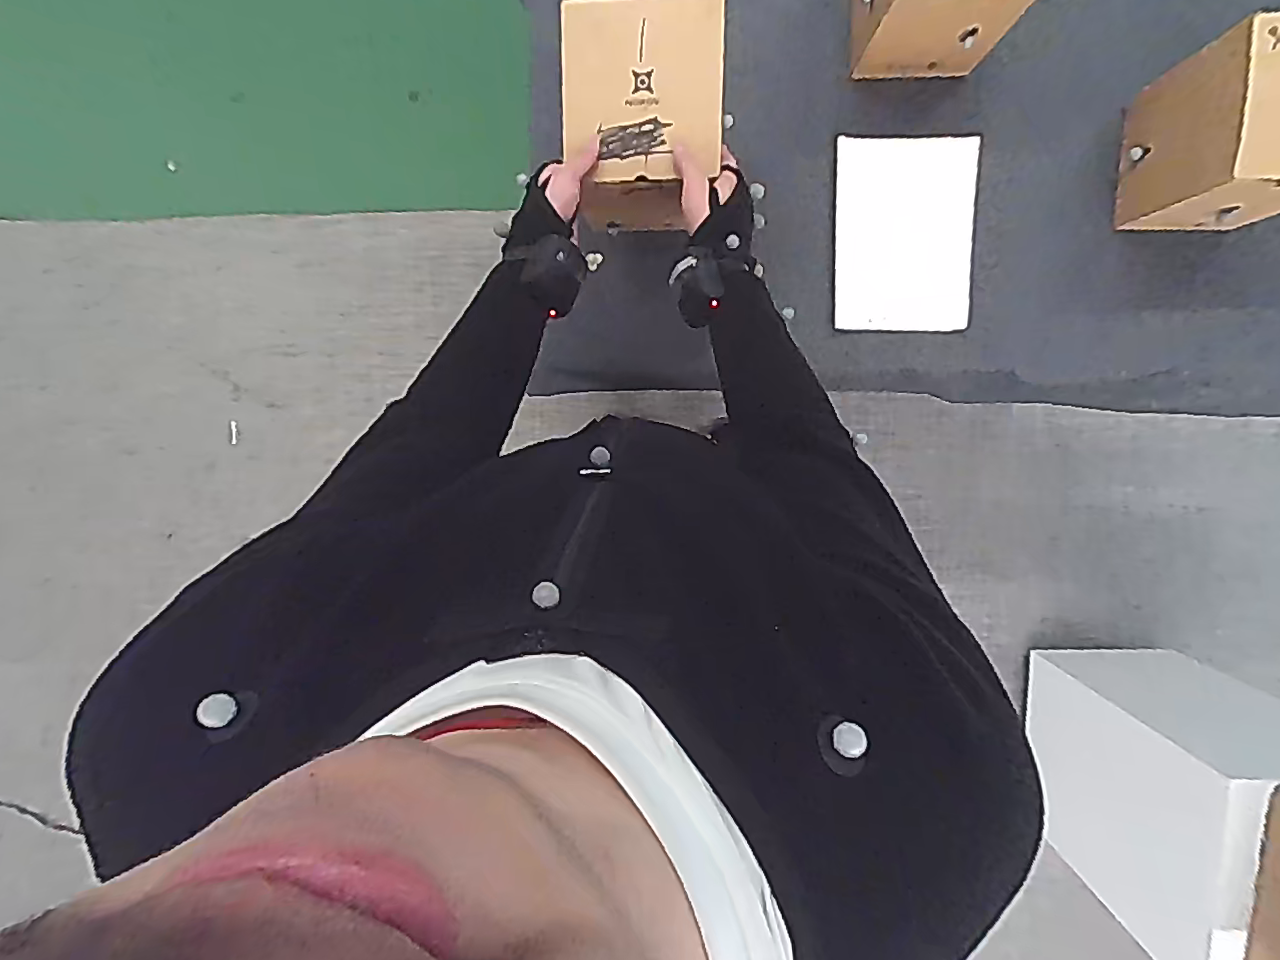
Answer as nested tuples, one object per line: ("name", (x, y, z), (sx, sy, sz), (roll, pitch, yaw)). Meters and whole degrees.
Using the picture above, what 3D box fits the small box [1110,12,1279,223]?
("small box", (0.748, -0.437, 0.681), (0.168, 0.176, 0.179), (1, 99, 2))

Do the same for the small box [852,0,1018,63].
("small box", (0.368, -0.642, 0.651), (0.168, 0.176, 0.179), (-1, 97, 1))

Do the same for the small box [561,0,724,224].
("small box", (0.009, -0.408, 0.627), (0.168, 0.176, 0.179), (1, 100, 6))
